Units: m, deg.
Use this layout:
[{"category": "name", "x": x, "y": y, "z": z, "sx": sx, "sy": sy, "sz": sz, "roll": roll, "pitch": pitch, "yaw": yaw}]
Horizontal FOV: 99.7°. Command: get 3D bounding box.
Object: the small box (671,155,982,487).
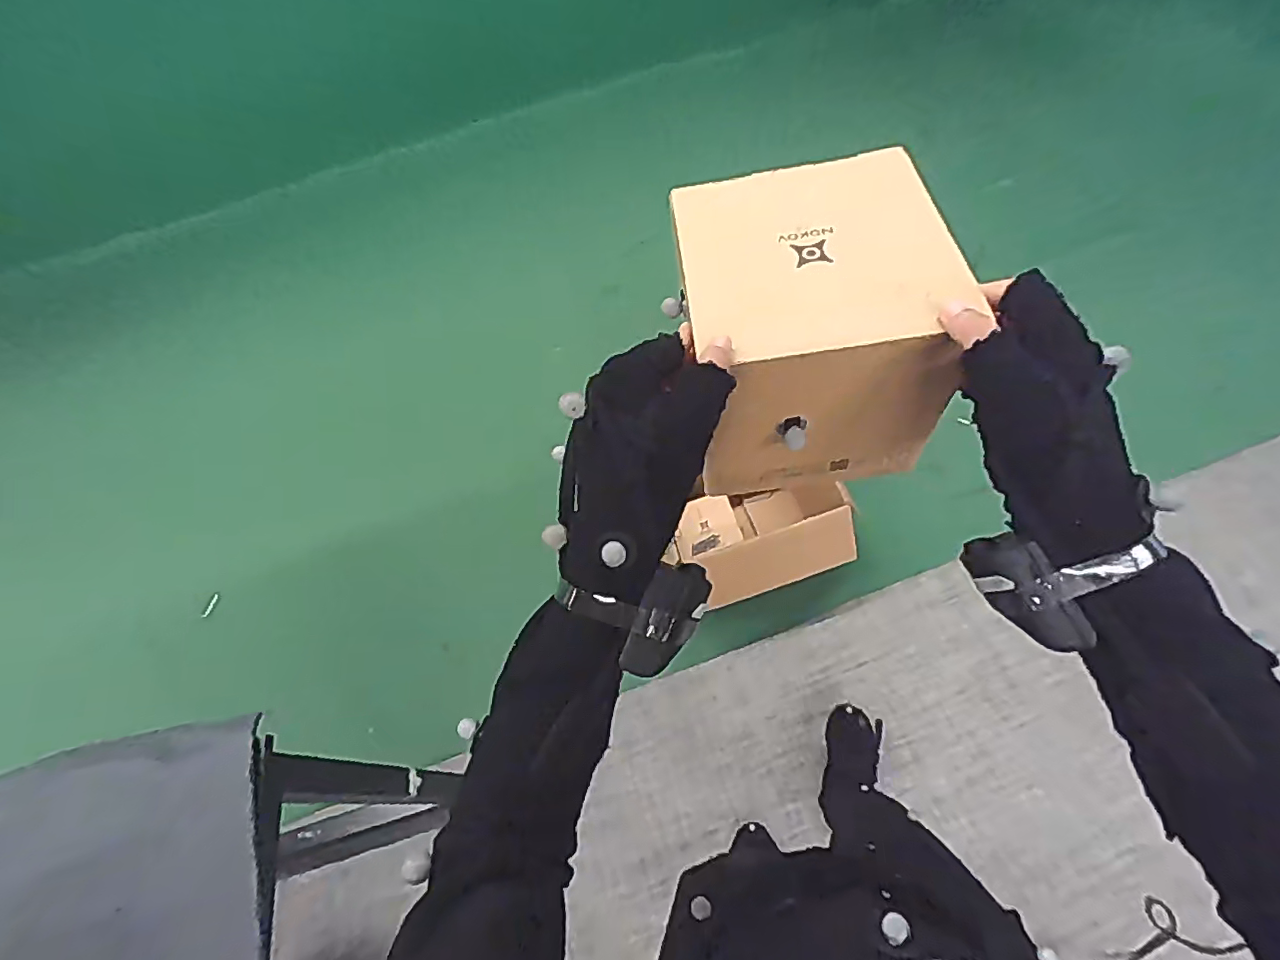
[{"category": "small box", "x": 0.121, "y": -0.106, "z": 0.418, "sx": 0.168, "sy": 0.176, "sz": 0.179, "roll": -8, "pitch": 59, "yaw": 6}]
